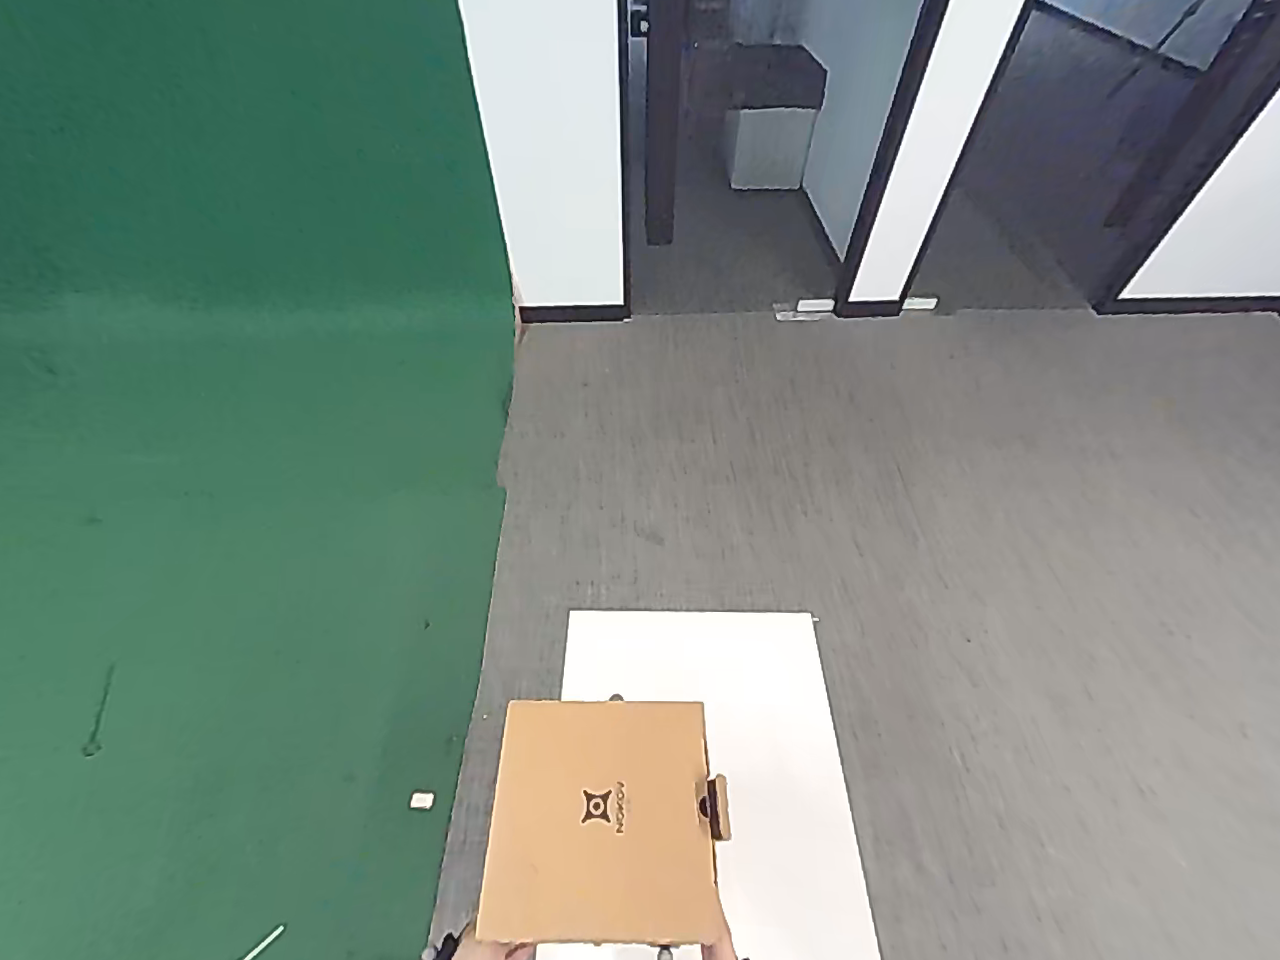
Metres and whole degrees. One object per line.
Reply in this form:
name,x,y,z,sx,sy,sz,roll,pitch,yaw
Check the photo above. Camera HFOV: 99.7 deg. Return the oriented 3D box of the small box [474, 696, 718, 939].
small box,-0.032,0.307,0.490,0.179,0.176,0.168,1,50,-1
